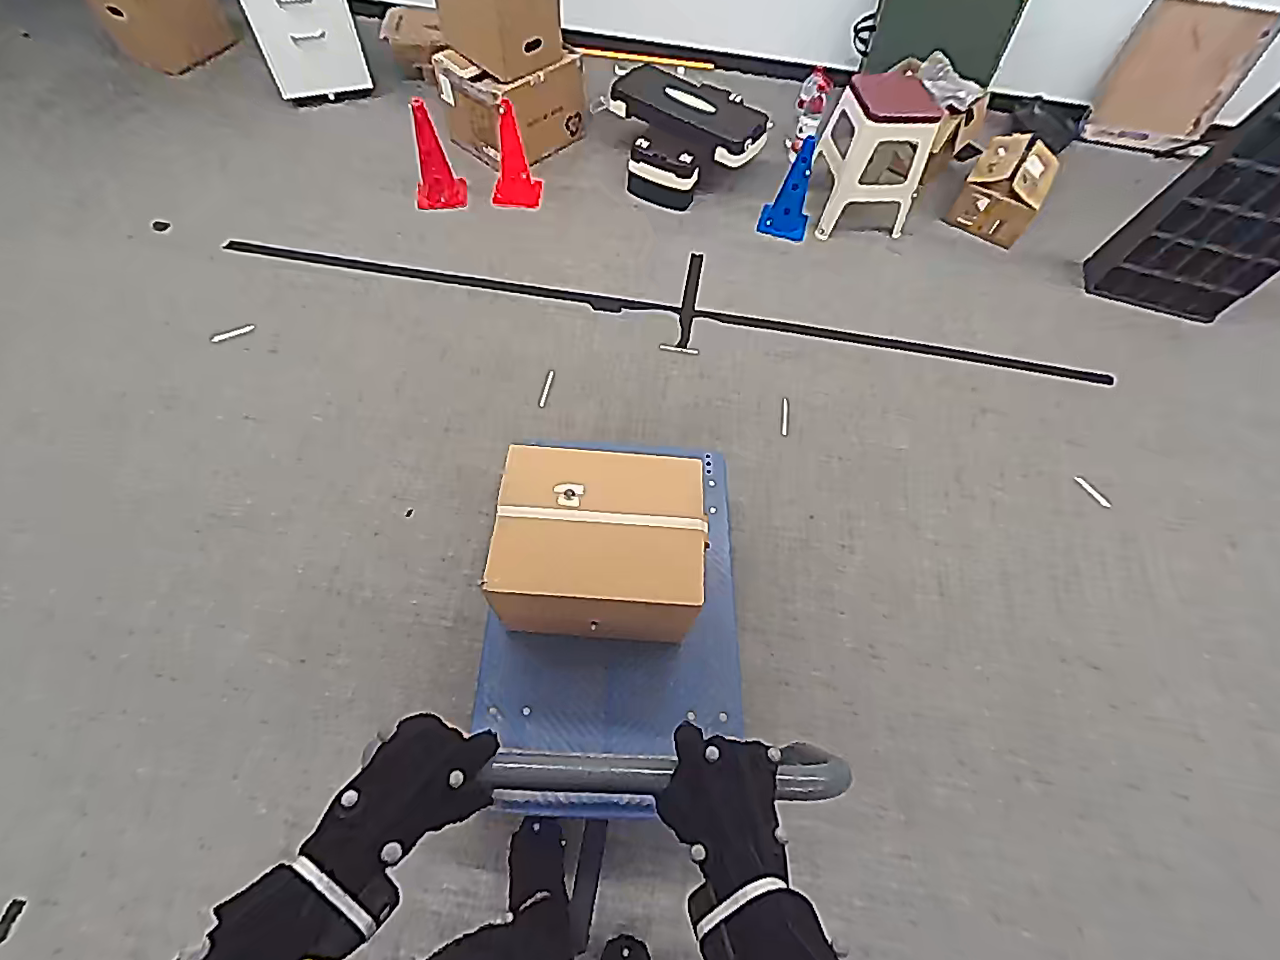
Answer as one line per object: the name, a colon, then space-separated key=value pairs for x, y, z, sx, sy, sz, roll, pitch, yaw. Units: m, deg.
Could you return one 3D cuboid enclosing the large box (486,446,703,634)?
large box: x=-0.081 y=0.146 z=1.188 sx=0.408 sy=0.320 sz=0.320 roll=5 pitch=61 yaw=-1
